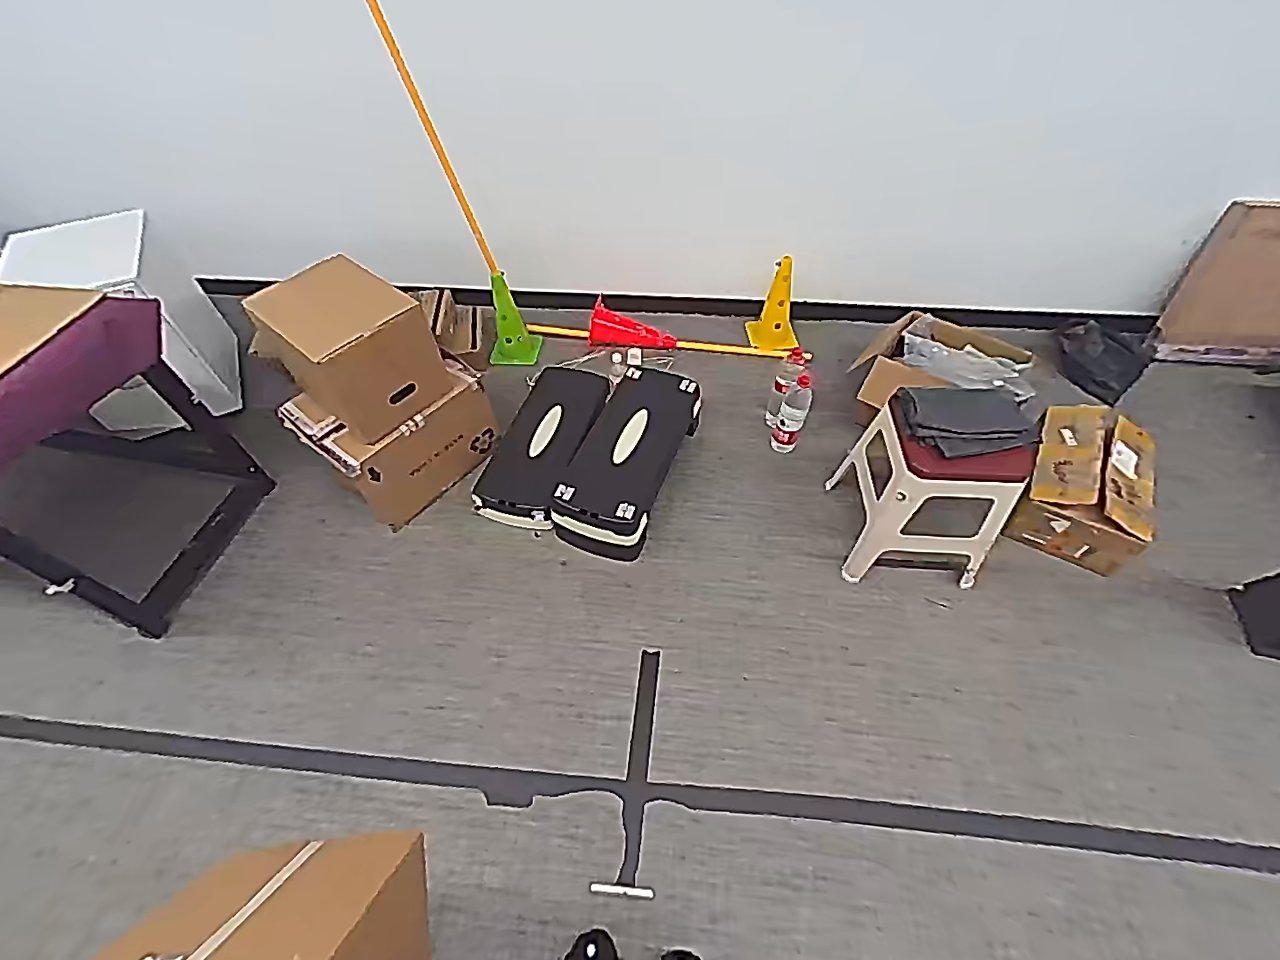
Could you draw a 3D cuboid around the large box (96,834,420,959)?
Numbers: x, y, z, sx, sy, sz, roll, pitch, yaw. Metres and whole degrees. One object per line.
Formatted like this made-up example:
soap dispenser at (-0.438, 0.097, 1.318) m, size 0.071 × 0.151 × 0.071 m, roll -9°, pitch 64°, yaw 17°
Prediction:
large box at (-0.483, 0.705, 0.643) m, size 0.320 × 0.408 × 0.320 m, roll -7°, pitch 84°, yaw -2°
